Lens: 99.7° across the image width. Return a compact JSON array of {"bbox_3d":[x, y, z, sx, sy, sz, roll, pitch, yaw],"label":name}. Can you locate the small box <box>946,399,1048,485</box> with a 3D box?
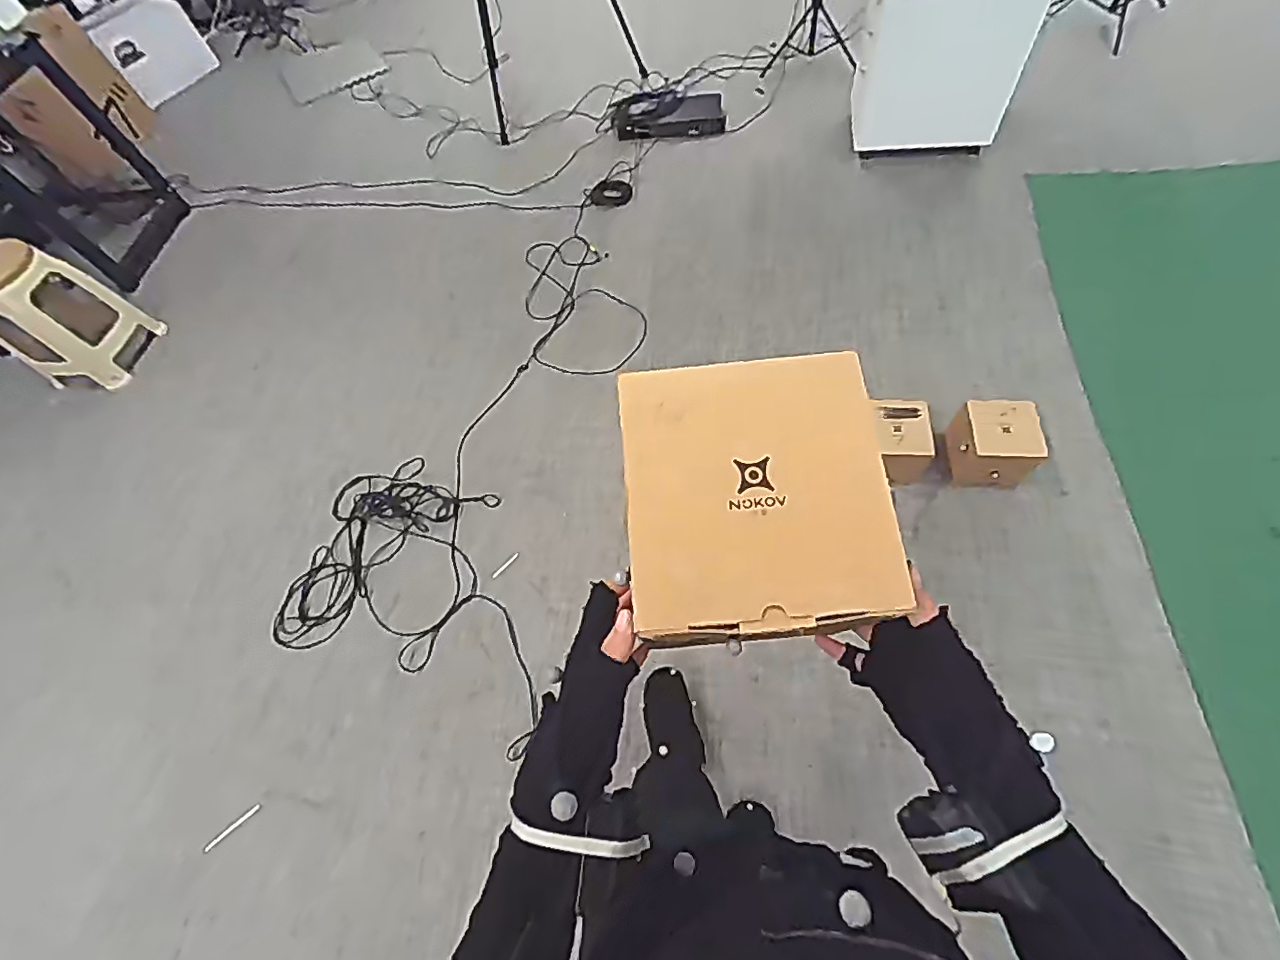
[{"bbox_3d":[0.949,-0.098,1.456,0.168,0.176,0.179,3,62,9],"label":"small box"}]

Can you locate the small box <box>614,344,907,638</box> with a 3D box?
[{"bbox_3d":[0.072,0.021,0.417,0.168,0.176,0.179,-6,71,2],"label":"small box"}]
